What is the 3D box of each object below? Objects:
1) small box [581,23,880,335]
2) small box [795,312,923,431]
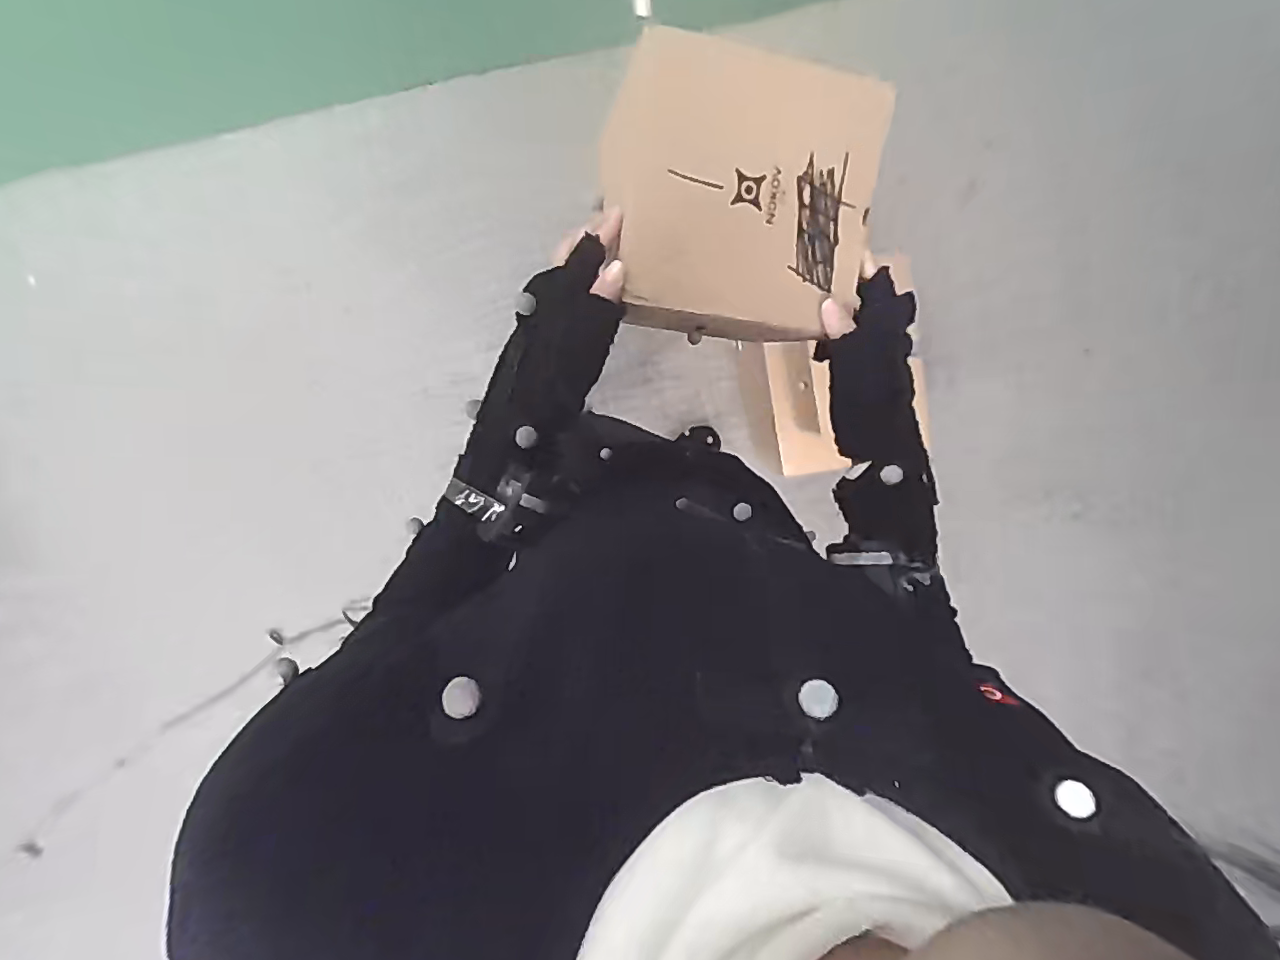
[{"bbox_3d":[0.053,-0.211,0.437,0.179,0.176,0.168,3,102,-12],"label":"small box"},{"bbox_3d":[0.395,-0.197,1.000,0.168,0.176,0.179,-11,101,5],"label":"small box"}]
